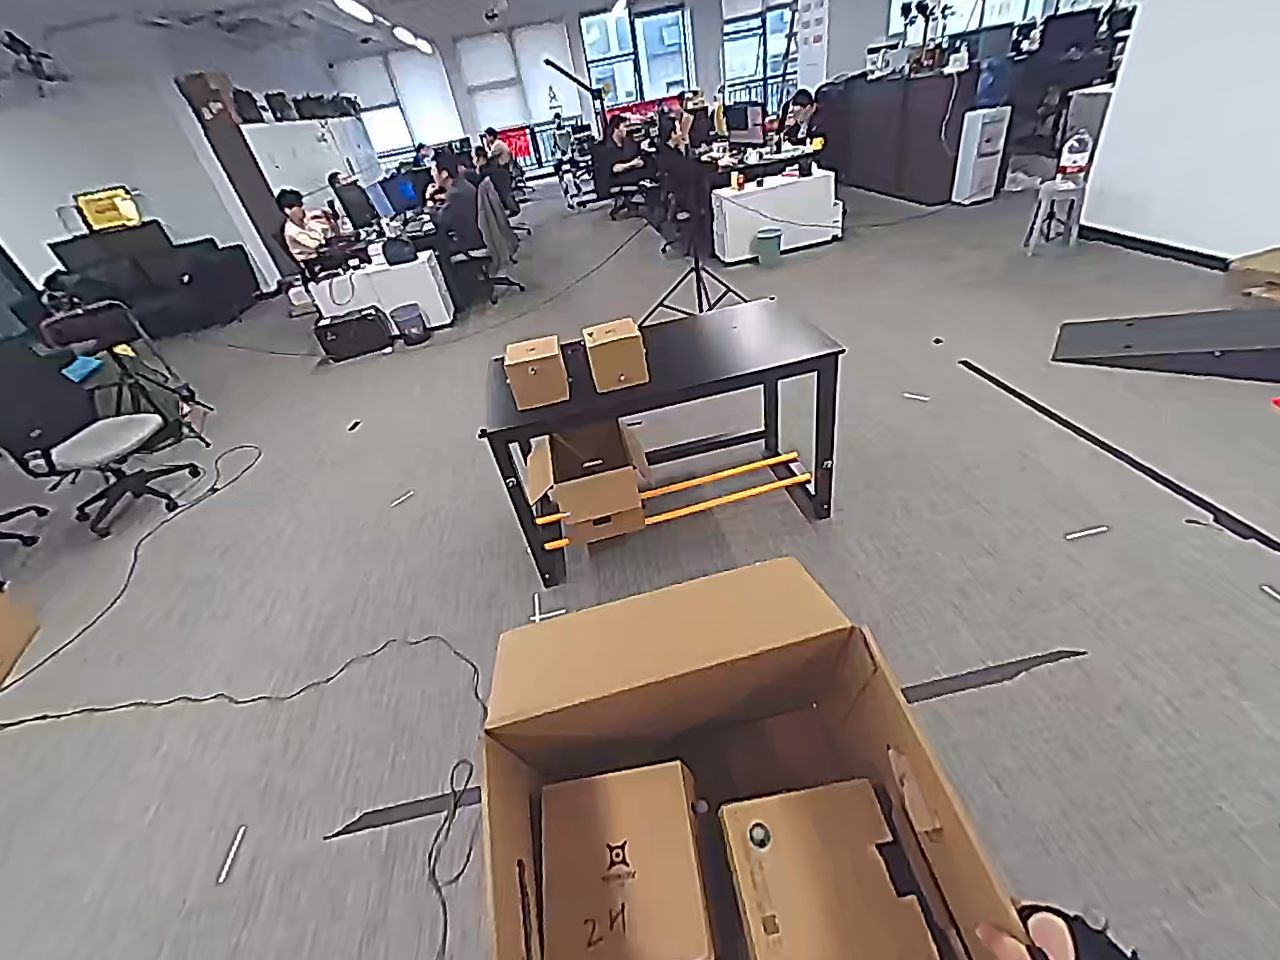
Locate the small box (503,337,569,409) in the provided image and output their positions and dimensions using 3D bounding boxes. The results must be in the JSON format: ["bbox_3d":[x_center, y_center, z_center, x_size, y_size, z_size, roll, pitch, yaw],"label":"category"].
[{"bbox_3d":[-0.343,-0.353,1.793,0.179,0.176,0.168,-12,37,-3],"label":"small box"}]

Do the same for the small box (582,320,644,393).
[{"bbox_3d":[-0.086,-0.412,1.802,0.179,0.176,0.168,-14,36,-4],"label":"small box"}]
